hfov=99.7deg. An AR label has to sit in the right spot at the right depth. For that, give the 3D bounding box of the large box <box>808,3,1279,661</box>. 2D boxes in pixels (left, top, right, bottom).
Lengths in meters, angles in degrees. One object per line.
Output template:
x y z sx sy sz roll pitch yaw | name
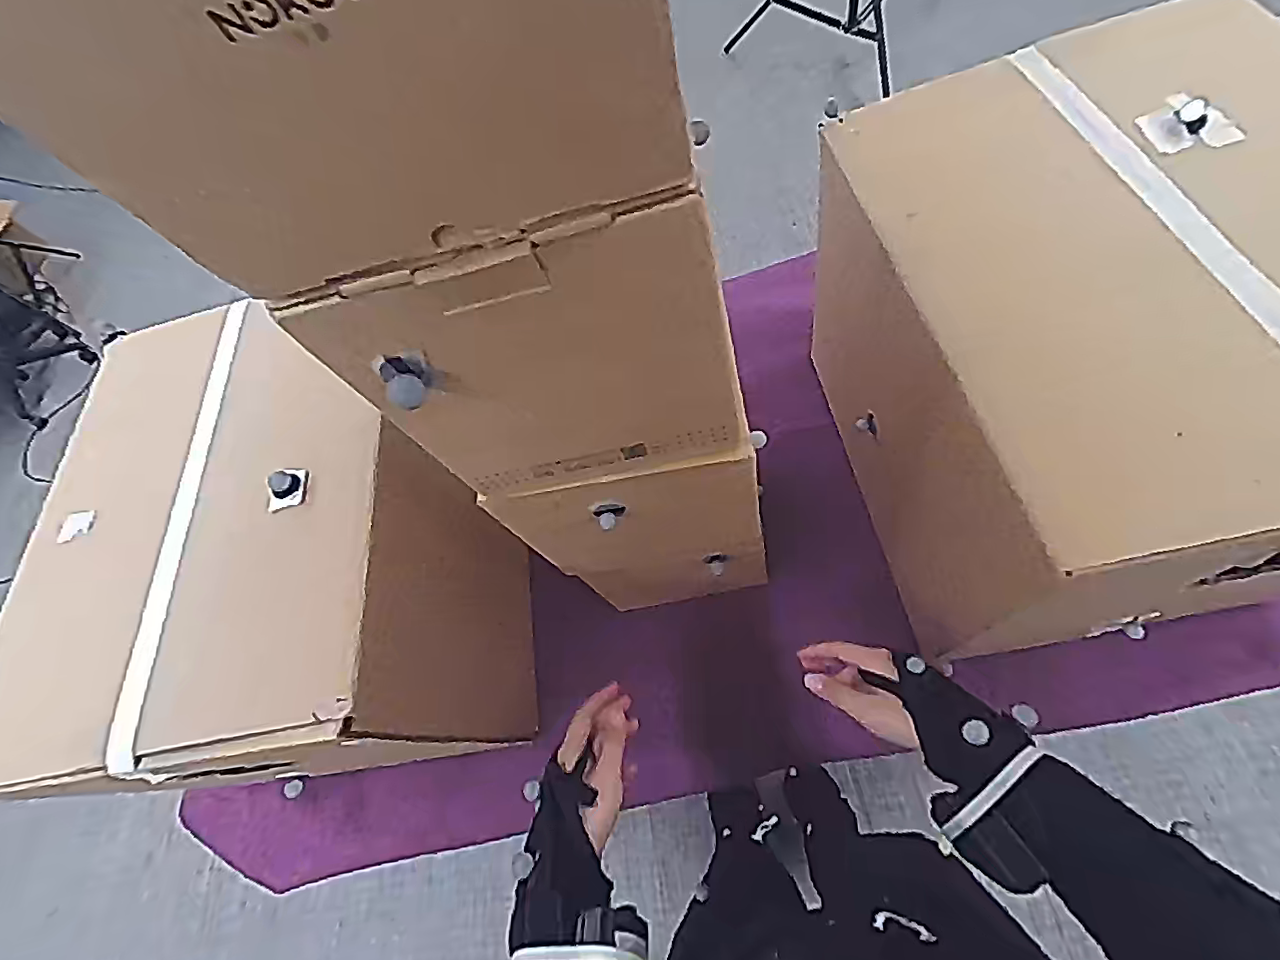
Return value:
0.359 -0.097 0.472 0.320 0.320 0.408 -14 60 7 | large box
